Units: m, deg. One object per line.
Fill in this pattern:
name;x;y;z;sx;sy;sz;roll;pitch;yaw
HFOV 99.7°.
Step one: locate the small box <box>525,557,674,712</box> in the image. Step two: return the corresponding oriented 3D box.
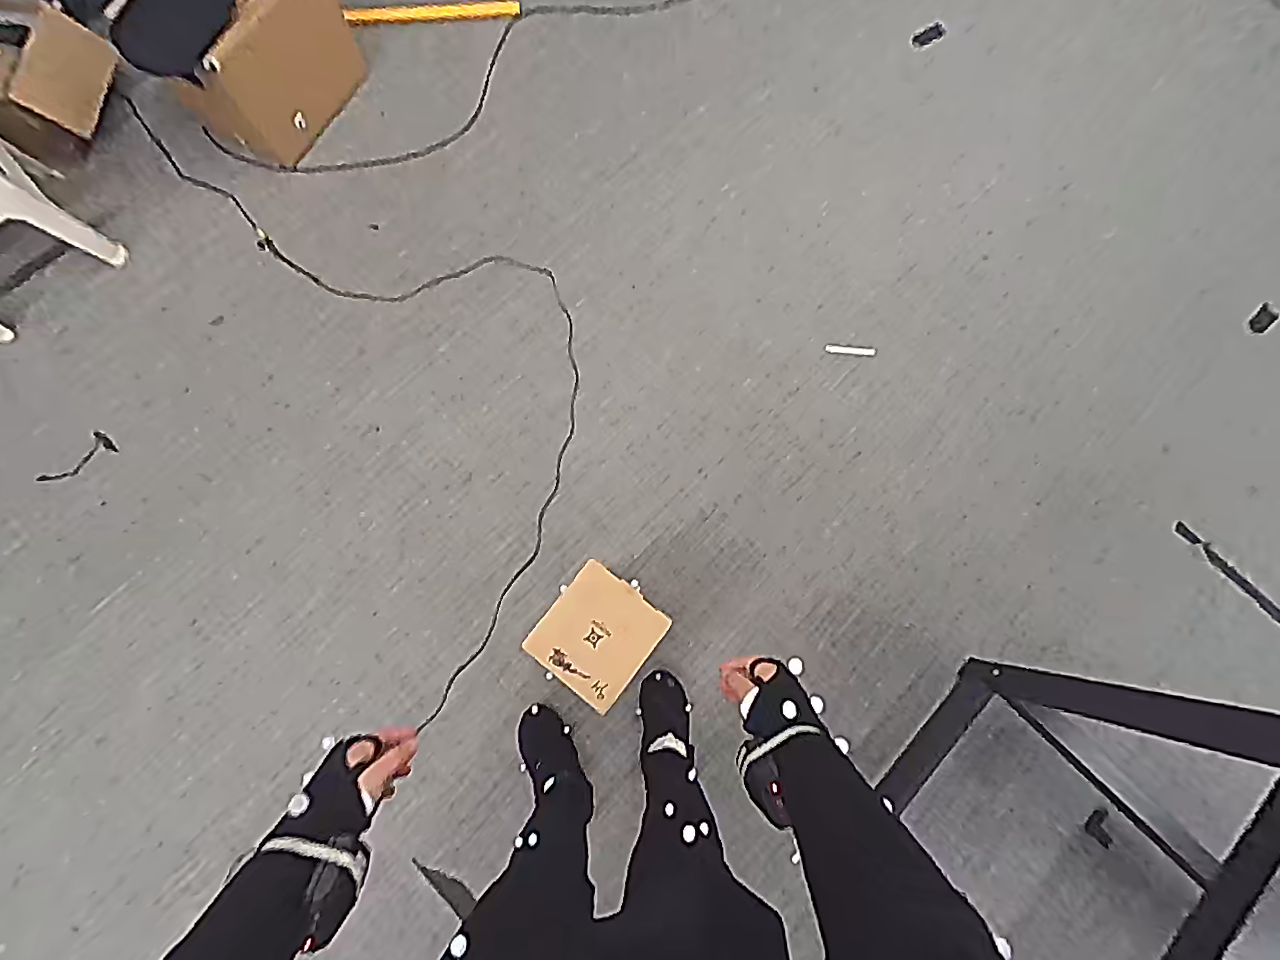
small box;-0.067;0.252;0.911;0.168;0.176;0.179;38;78;7
